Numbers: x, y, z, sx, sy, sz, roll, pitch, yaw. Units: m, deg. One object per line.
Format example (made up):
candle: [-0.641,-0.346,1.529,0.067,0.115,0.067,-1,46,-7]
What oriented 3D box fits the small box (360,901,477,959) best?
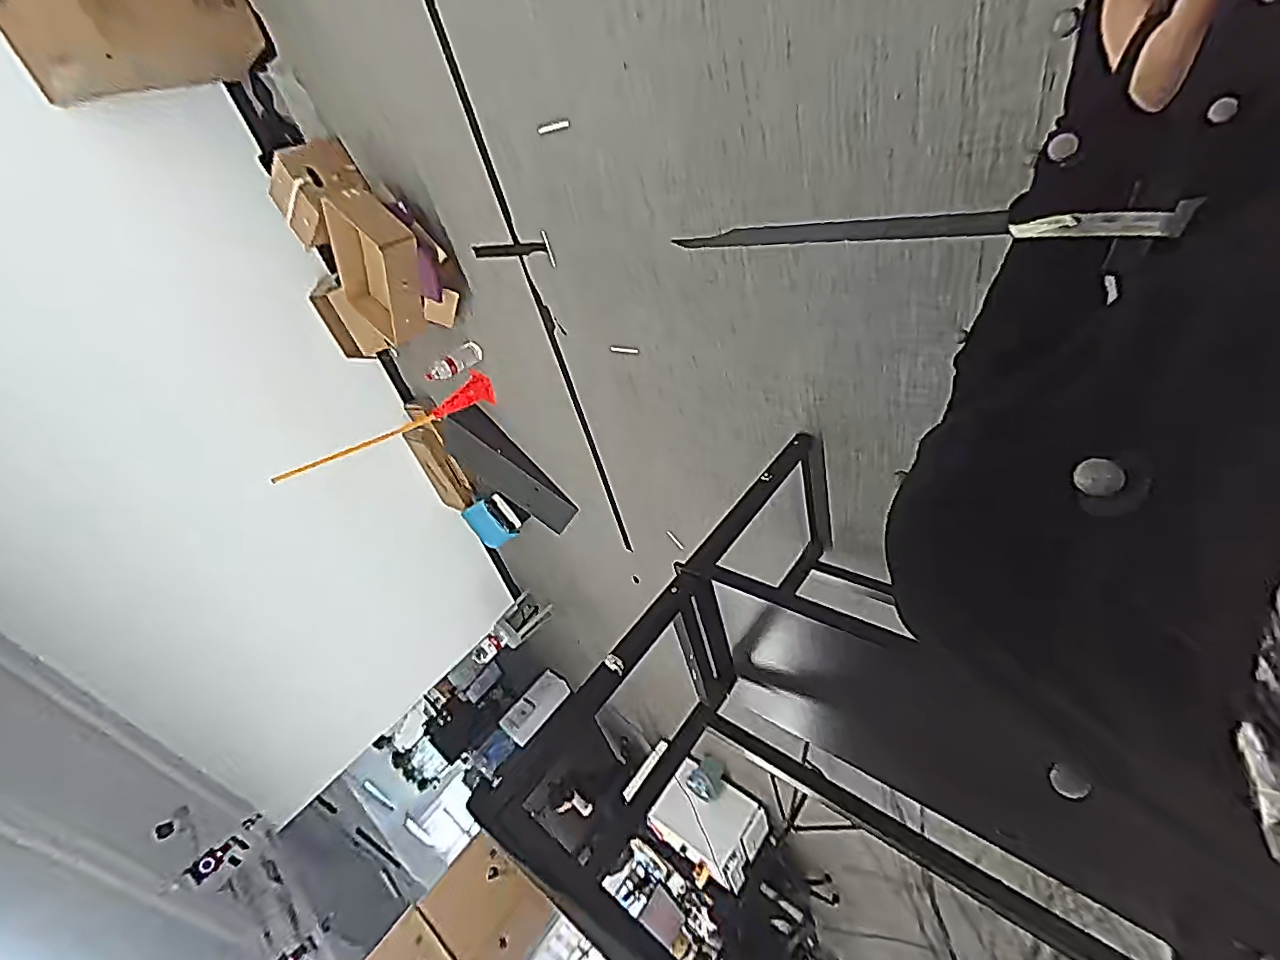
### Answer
small box: [-0.395,0.914,0.968,0.168,0.176,0.179,16,136,38]
